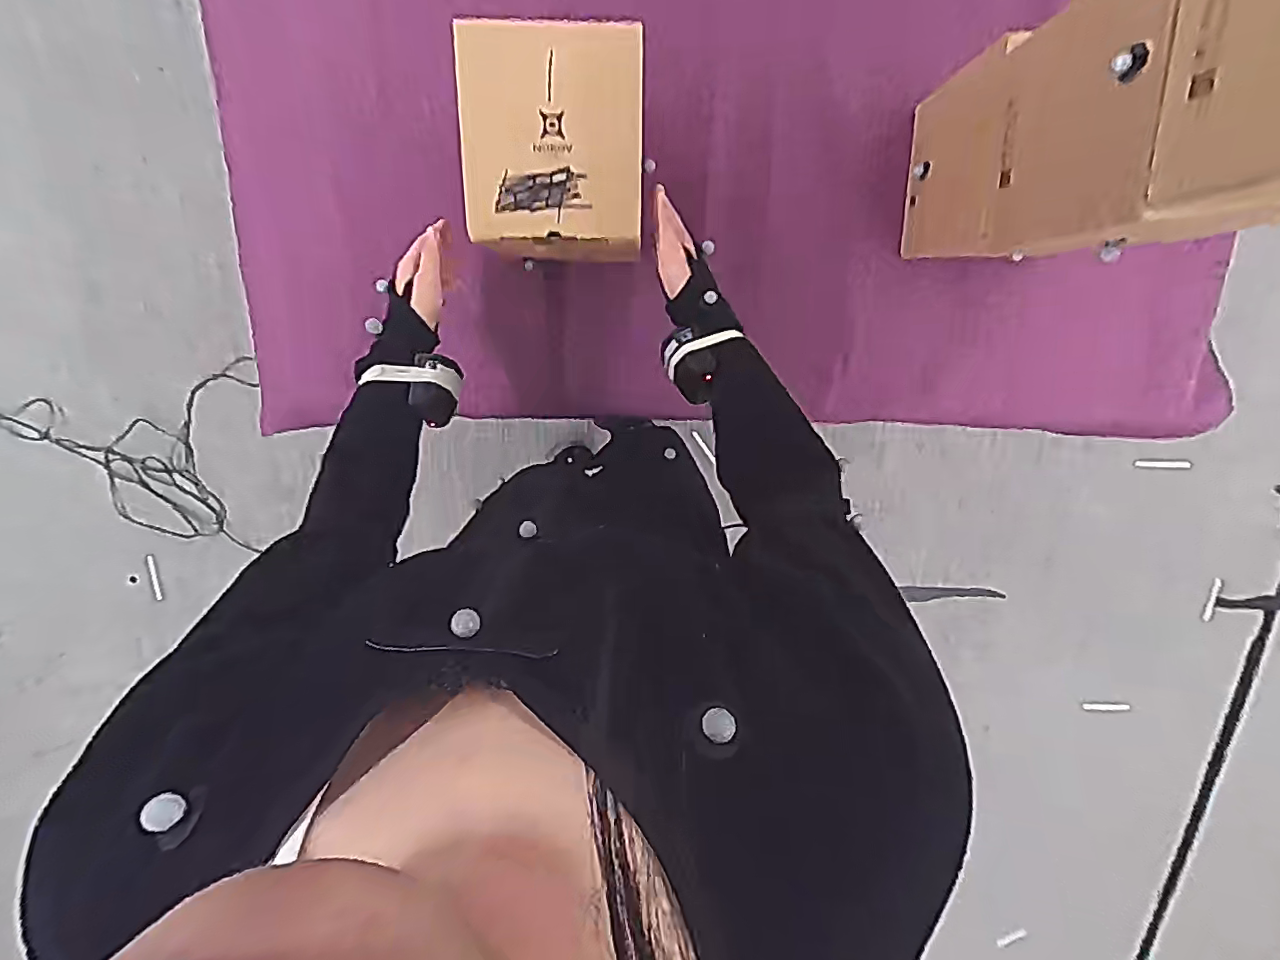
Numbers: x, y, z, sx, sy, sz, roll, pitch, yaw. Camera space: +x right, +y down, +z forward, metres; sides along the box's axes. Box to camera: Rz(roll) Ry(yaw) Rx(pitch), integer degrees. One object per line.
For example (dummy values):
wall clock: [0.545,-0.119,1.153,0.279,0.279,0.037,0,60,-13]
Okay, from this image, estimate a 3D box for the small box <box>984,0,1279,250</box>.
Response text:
small box: [0.409,-0.279,0.414,0.179,0.176,0.168,-4,105,0]

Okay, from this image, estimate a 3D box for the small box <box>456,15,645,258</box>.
small box: [-0.079,-0.333,0.562,0.168,0.176,0.179,1,105,-1]

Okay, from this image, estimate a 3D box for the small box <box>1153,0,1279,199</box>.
small box: [0.409,-0.243,0.255,0.179,0.176,0.168,-3,105,0]
